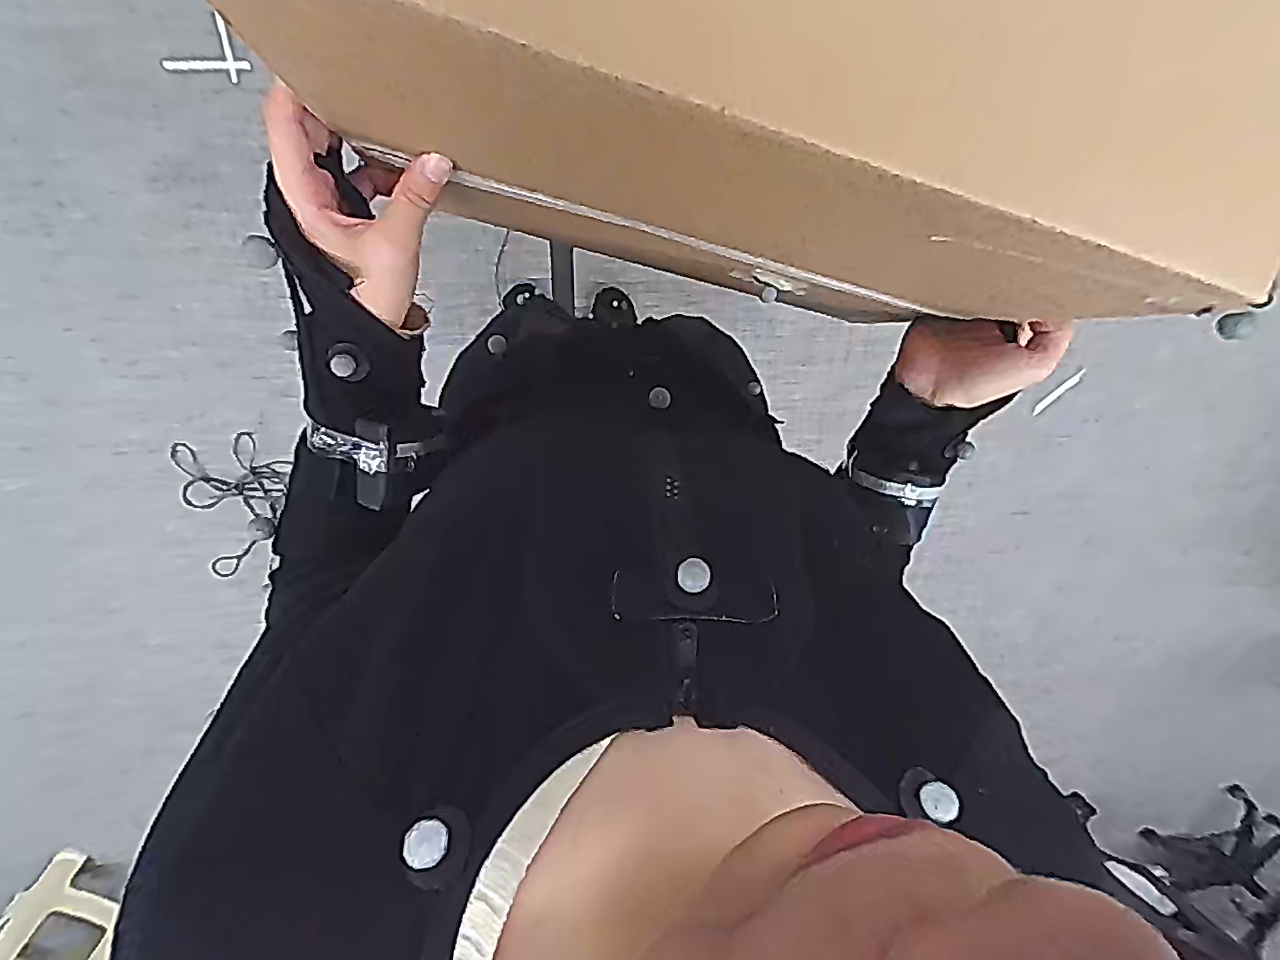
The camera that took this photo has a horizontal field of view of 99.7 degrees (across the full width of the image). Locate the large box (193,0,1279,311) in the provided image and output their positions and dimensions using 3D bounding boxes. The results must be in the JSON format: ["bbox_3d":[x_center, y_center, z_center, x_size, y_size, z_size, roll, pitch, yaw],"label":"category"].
[{"bbox_3d":[0.061,-0.293,0.282,0.408,0.320,0.320,8,105,-13],"label":"large box"}]
